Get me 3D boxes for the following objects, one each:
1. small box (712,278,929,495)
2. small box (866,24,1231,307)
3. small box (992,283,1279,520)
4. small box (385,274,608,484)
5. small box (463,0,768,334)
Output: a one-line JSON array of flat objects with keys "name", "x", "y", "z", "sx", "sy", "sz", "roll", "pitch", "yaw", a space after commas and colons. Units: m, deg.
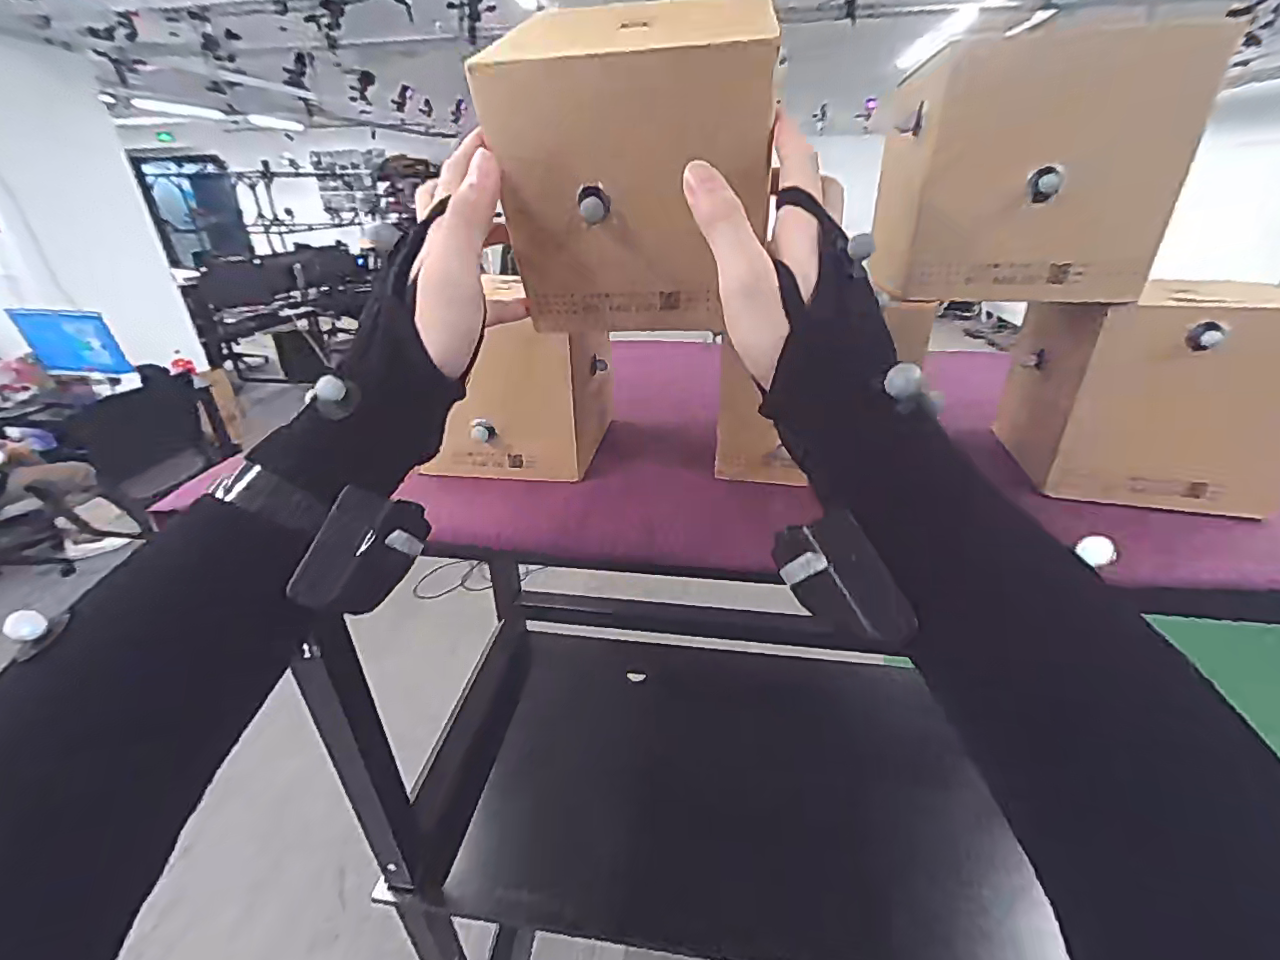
[{"name": "small box", "x": 0.162, "y": -0.103, "z": 0.541, "sx": 0.168, "sy": 0.176, "sz": 0.179, "roll": 4, "pitch": 28, "yaw": 10}, {"name": "small box", "x": 0.298, "y": -0.243, "z": 0.450, "sx": 0.168, "sy": 0.176, "sz": 0.179, "roll": 5, "pitch": 28, "yaw": 10}, {"name": "small box", "x": 0.452, "y": -0.084, "z": 0.496, "sx": 0.168, "sy": 0.176, "sz": 0.179, "roll": 6, "pitch": 27, "yaw": 16}, {"name": "small box", "x": -0.128, "y": -0.112, "z": 0.560, "sx": 0.168, "sy": 0.176, "sz": 0.179, "roll": 3, "pitch": 29, "yaw": 7}, {"name": "small box", "x": 0.003, "y": -0.219, "z": 0.389, "sx": 0.168, "sy": 0.176, "sz": 0.179, "roll": 2, "pitch": 48, "yaw": 9}]
